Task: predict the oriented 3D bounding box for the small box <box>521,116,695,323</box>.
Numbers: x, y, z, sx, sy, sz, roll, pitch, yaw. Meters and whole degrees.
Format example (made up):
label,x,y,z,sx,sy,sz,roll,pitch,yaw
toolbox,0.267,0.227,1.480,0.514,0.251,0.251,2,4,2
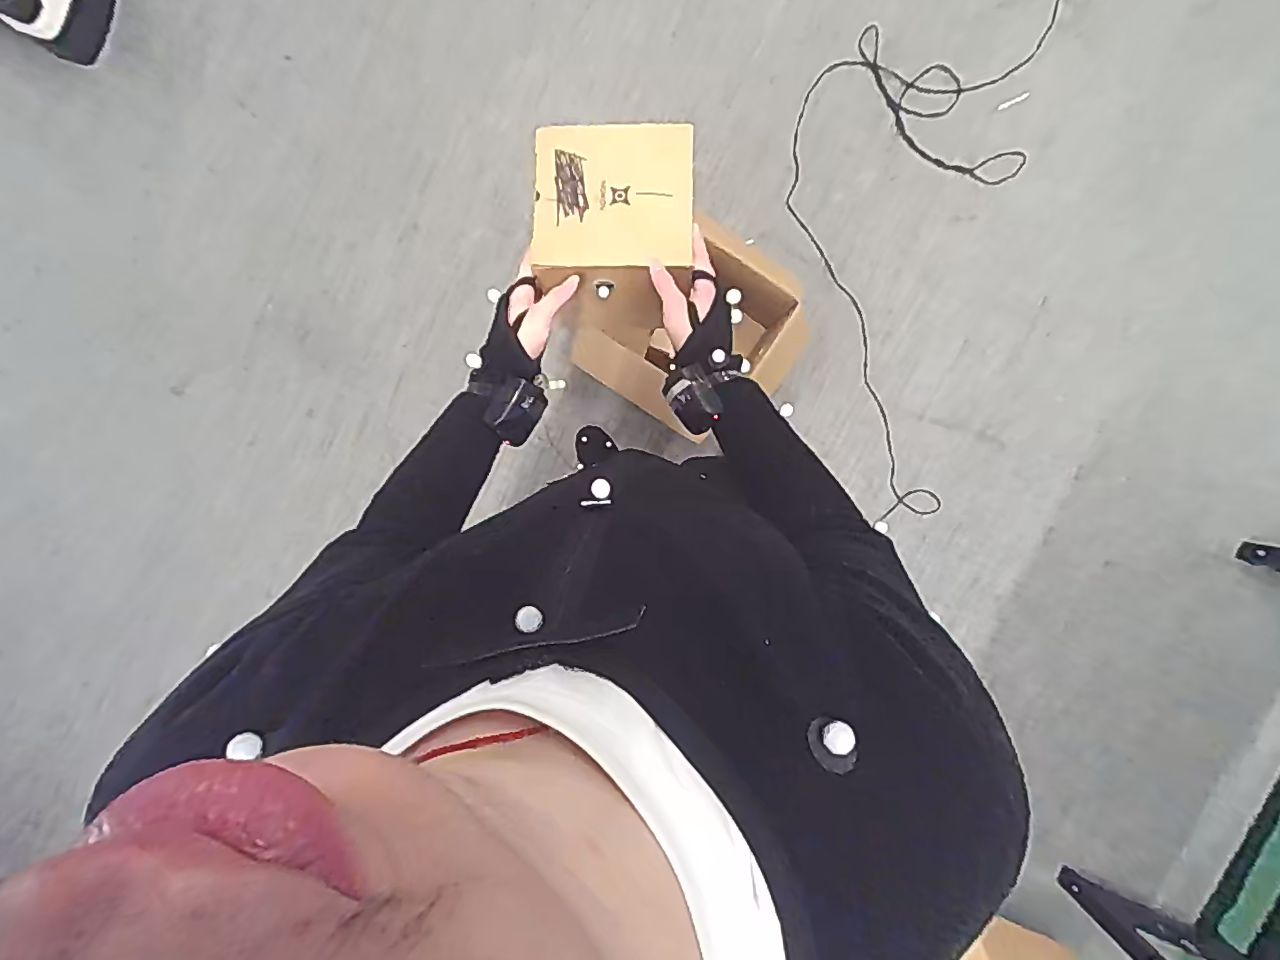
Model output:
label,x,y,z,sx,sy,sz,roll,pitch,yaw
small box,-0.028,-0.300,0.653,0.179,0.176,0.168,4,86,4
